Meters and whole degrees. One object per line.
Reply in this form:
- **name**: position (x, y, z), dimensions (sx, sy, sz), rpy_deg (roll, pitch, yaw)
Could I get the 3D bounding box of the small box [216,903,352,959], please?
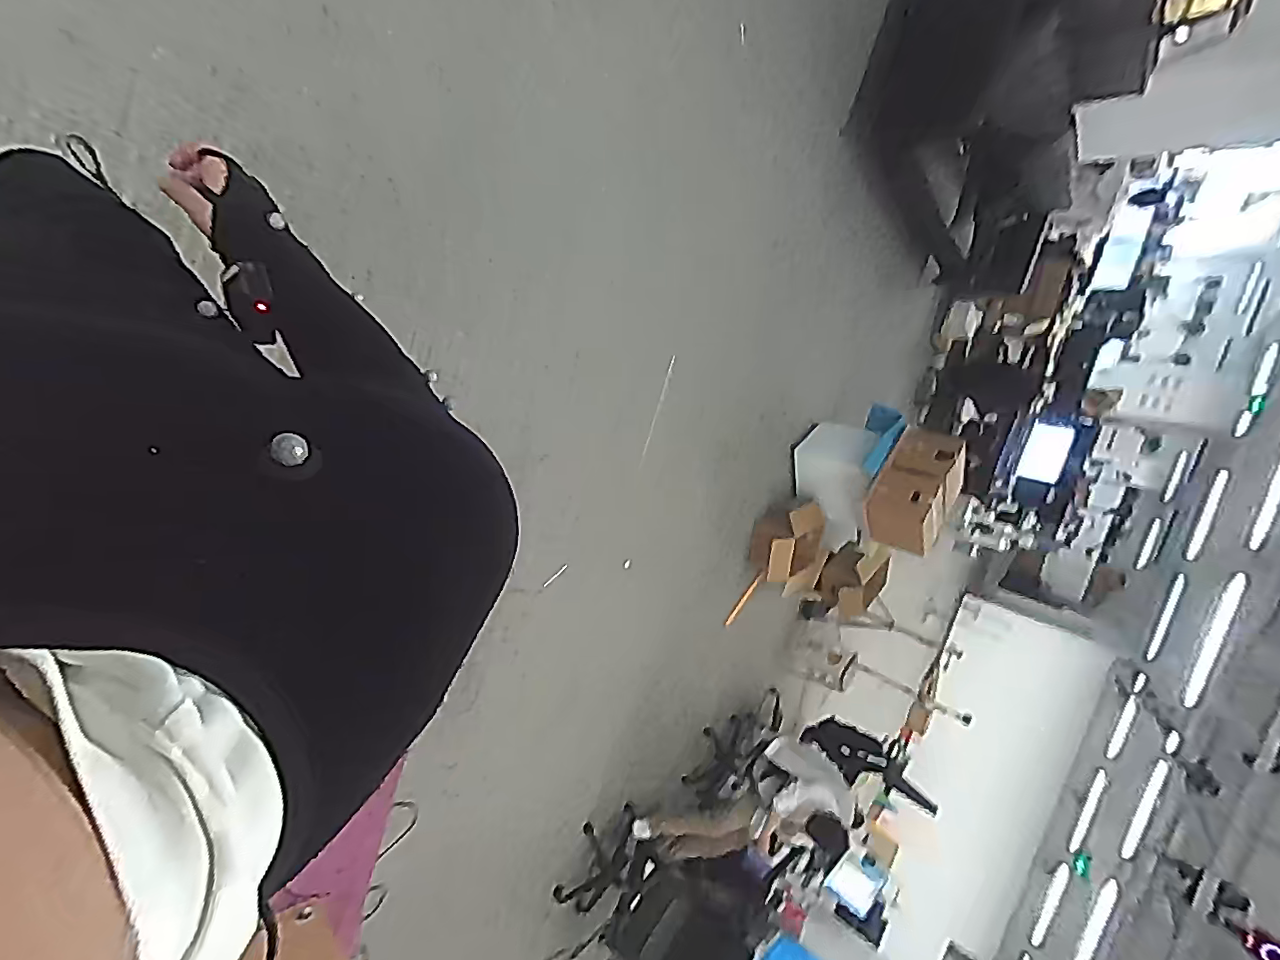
- **small box**: position (-0.651, 0.911, 0.965), dimensions (0.168, 0.176, 0.179), rpy_deg (14, 95, -50)
